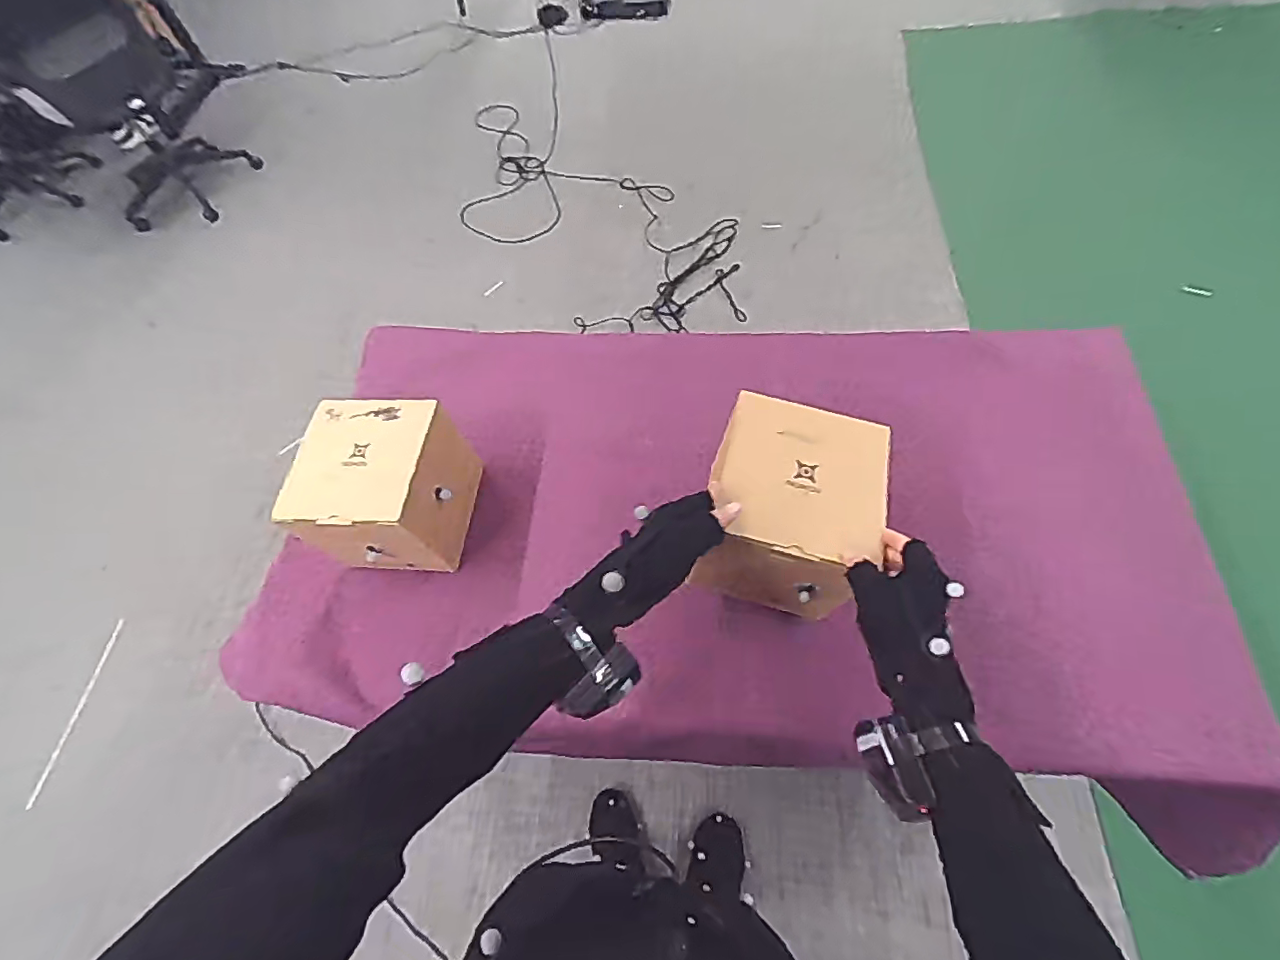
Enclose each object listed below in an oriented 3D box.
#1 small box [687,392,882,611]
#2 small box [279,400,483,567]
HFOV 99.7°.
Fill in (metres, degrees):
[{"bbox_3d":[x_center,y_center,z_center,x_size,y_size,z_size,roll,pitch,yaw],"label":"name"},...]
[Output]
[{"bbox_3d":[0.154,0.033,0.615,0.168,0.176,0.179,14,62,4],"label":"small box"},{"bbox_3d":[-0.331,0.010,0.733,0.168,0.176,0.179,1,62,8],"label":"small box"}]
